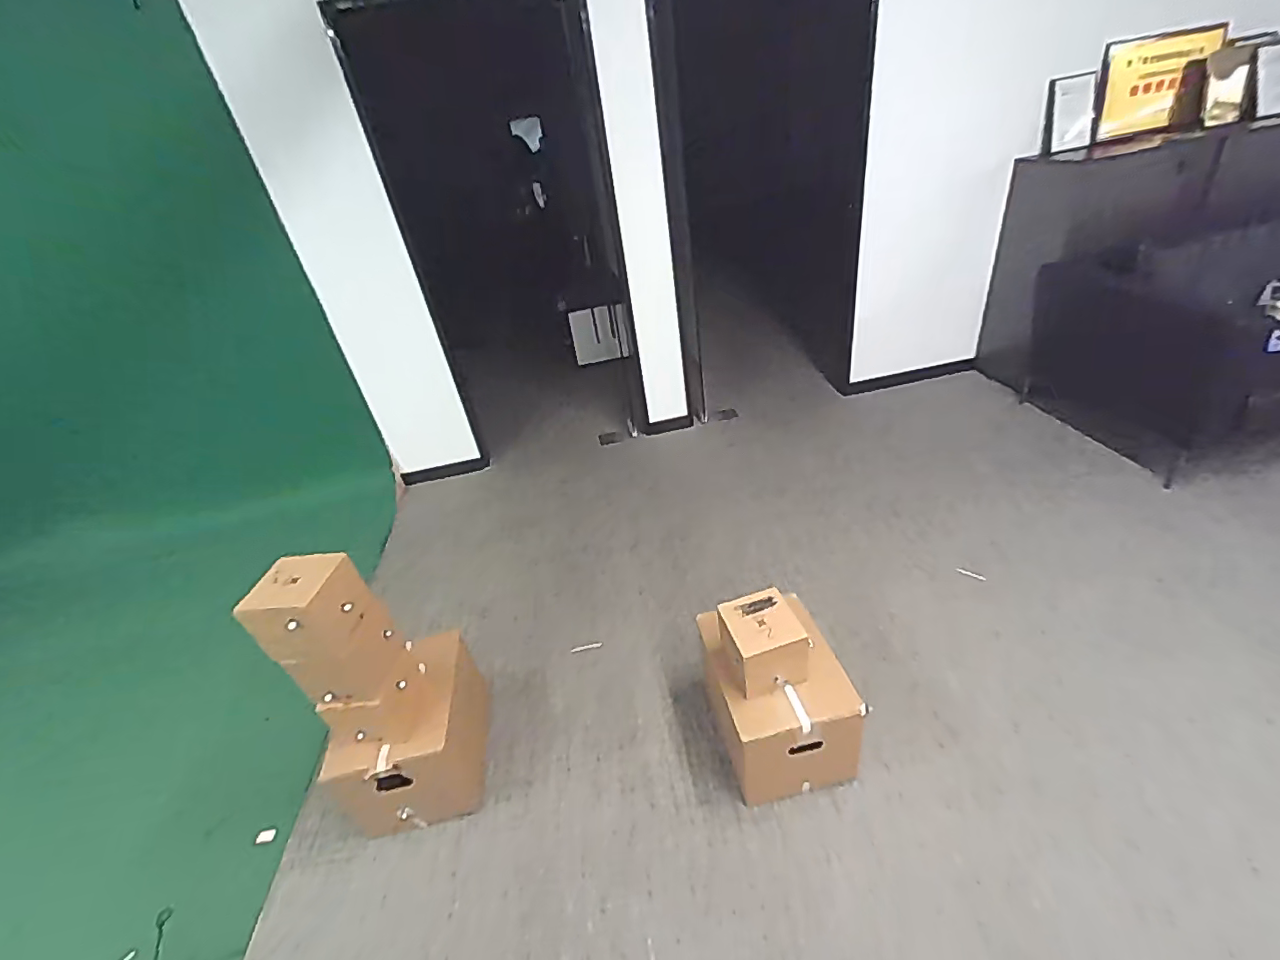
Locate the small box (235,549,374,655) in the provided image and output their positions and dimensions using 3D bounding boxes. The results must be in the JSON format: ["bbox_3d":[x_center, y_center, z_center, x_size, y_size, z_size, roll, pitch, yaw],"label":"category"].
[{"bbox_3d":[-0.742,0.277,1.223,0.179,0.176,0.168,-5,34,9],"label":"small box"}]

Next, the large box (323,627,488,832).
[{"bbox_3d":[-0.647,0.714,1.579,0.320,0.320,0.408,-12,33,-4],"label":"large box"}]

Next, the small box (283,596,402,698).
[{"bbox_3d":[-0.709,0.407,1.318,0.168,0.176,0.179,-6,35,9],"label":"small box"}]

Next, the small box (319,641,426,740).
[{"bbox_3d":[-0.679,0.544,1.401,0.168,0.176,0.179,-7,34,5],"label":"small box"}]
